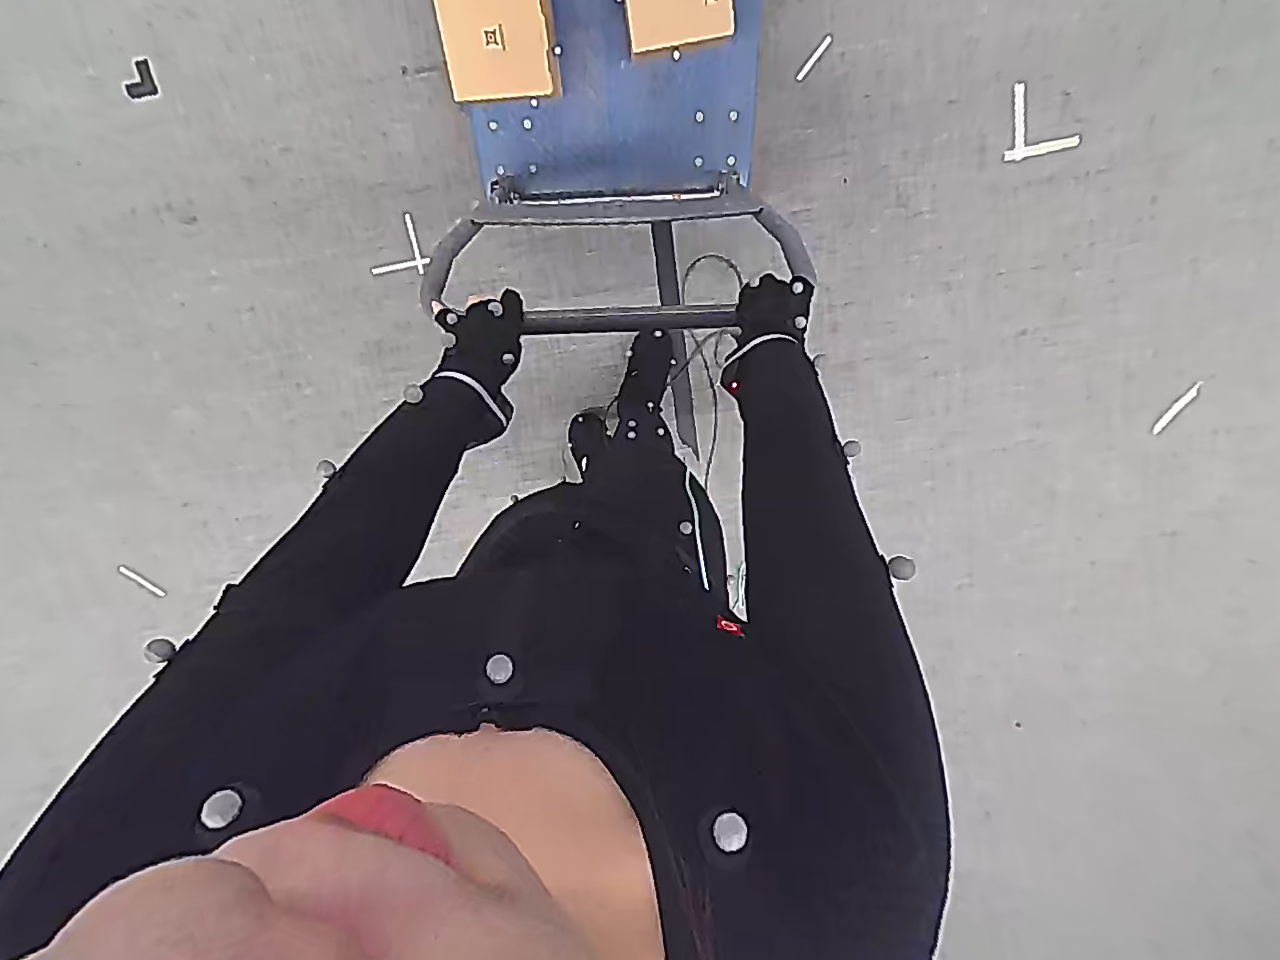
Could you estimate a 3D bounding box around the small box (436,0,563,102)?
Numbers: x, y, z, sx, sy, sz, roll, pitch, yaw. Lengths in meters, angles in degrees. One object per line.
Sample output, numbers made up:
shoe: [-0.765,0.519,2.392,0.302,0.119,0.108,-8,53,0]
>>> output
small box: [-0.242,-0.782,0.963,0.179,0.176,0.168,-5,123,0]

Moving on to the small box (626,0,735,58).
small box: [0.062,-0.844,0.926,0.179,0.176,0.168,-7,124,4]
